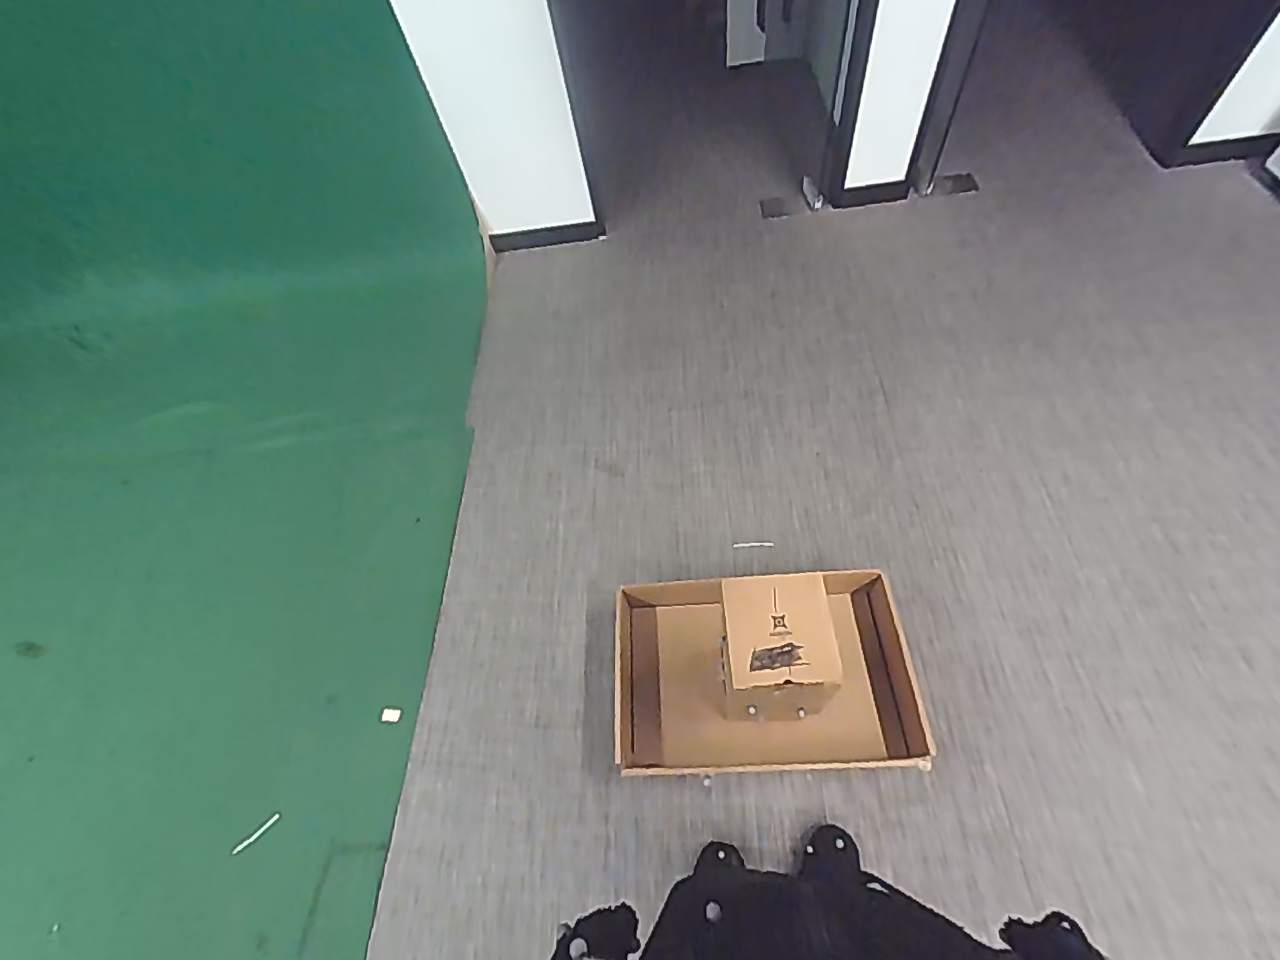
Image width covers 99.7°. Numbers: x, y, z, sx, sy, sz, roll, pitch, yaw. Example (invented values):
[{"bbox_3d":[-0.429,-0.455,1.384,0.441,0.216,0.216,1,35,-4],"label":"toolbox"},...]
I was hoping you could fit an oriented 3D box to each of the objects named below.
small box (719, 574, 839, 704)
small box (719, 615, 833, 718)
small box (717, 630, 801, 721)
[{"bbox_3d":[0.226,0.275,0.915,0.168,0.176,0.179,-5,56,6],"label":"small box"},{"bbox_3d":[0.250,0.353,1.039,0.179,0.176,0.168,-8,58,4],"label":"small box"},{"bbox_3d":[0.270,0.431,1.202,0.179,0.176,0.168,-6,57,5],"label":"small box"}]
